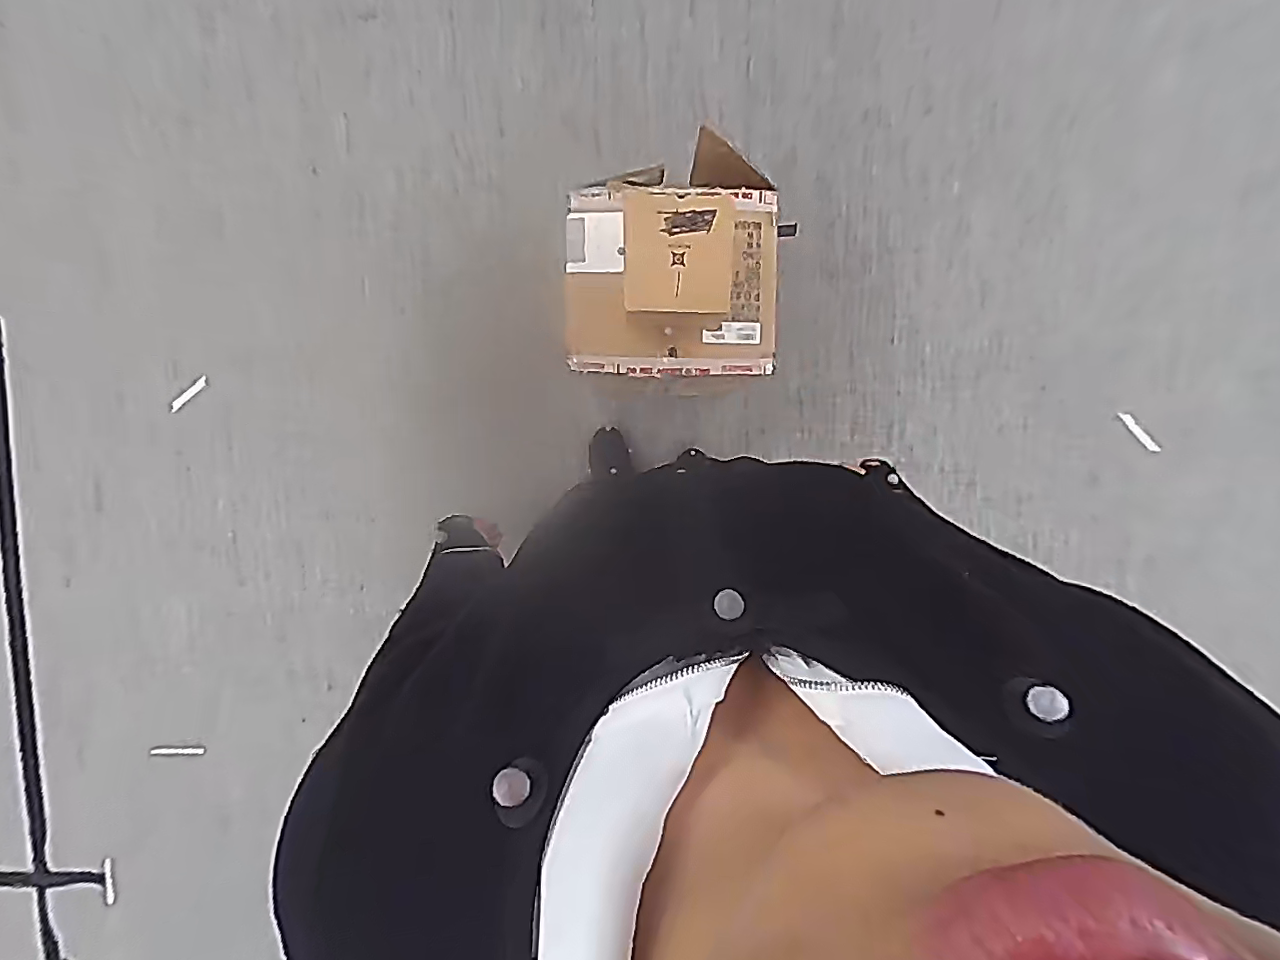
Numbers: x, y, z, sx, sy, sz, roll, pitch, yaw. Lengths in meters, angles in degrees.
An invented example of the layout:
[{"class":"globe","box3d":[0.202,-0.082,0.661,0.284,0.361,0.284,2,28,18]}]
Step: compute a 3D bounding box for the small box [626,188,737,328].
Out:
[{"class":"small box","box3d":[0.061,-0.360,0.903,0.168,0.176,0.179,2,97,0]}]
